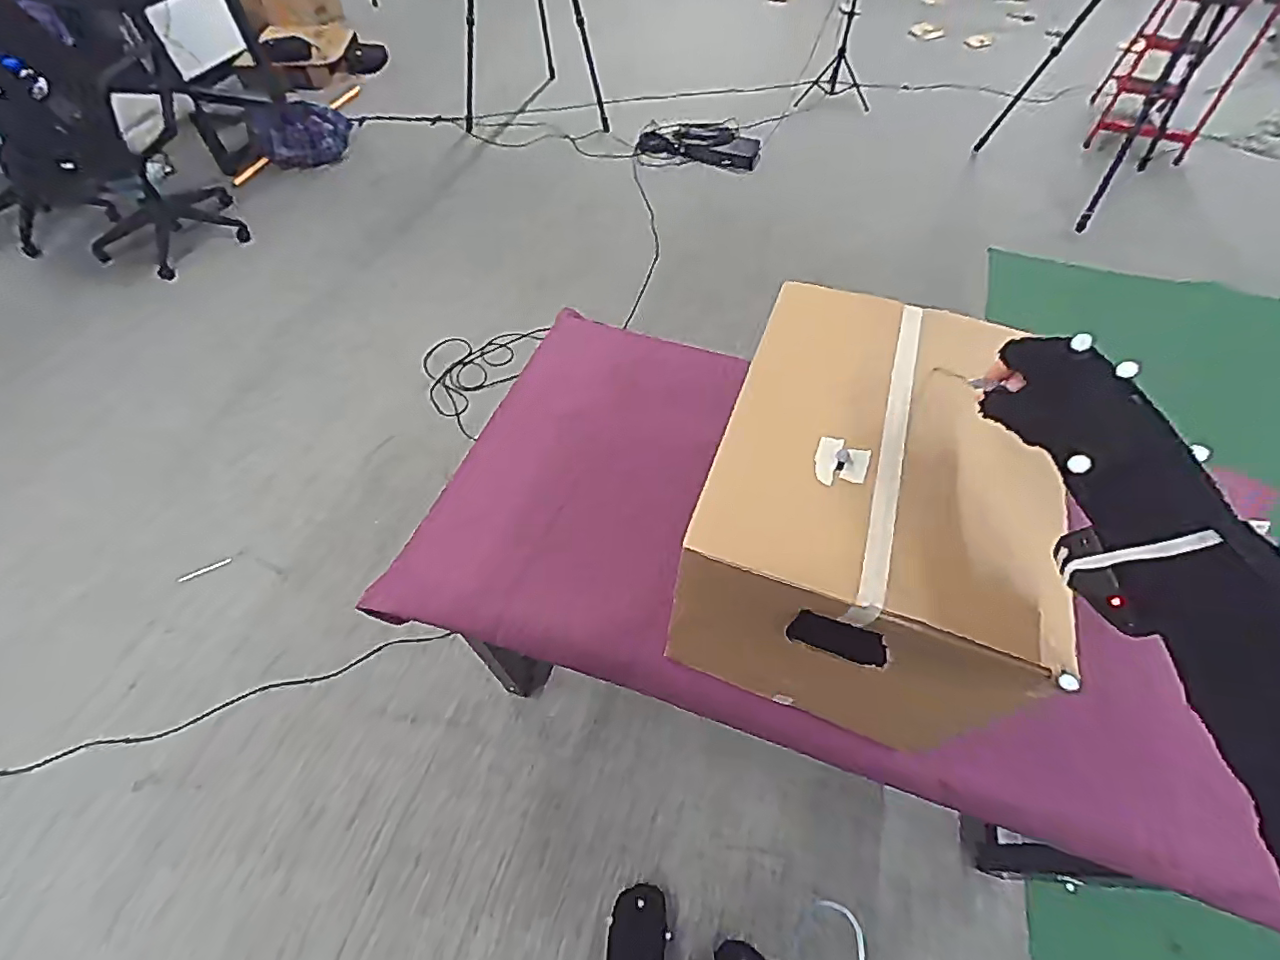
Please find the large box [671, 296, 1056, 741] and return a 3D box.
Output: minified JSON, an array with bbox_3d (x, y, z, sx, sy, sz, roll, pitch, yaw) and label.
[{"bbox_3d":[0.251,0.046,0.679,0.320,0.320,0.408,18,58,12],"label":"large box"}]
